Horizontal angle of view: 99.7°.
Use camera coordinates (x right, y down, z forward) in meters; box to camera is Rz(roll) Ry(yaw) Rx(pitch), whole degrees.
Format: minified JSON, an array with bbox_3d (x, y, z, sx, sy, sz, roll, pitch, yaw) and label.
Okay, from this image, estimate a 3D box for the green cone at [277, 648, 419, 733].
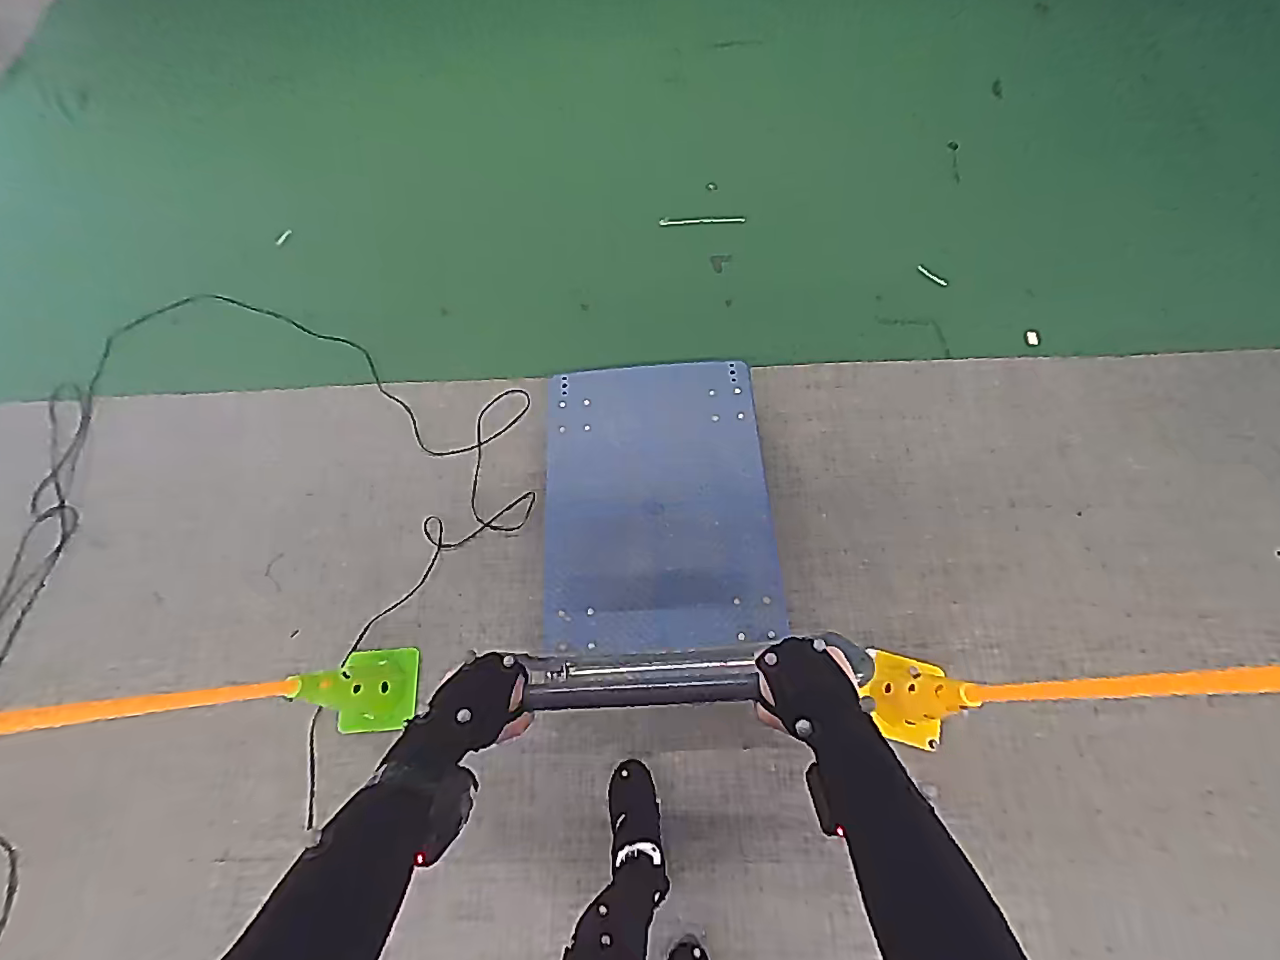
[{"bbox_3d":[-0.698,0.484,1.263,0.202,0.368,0.200,-6,67,4],"label":"green cone"}]
